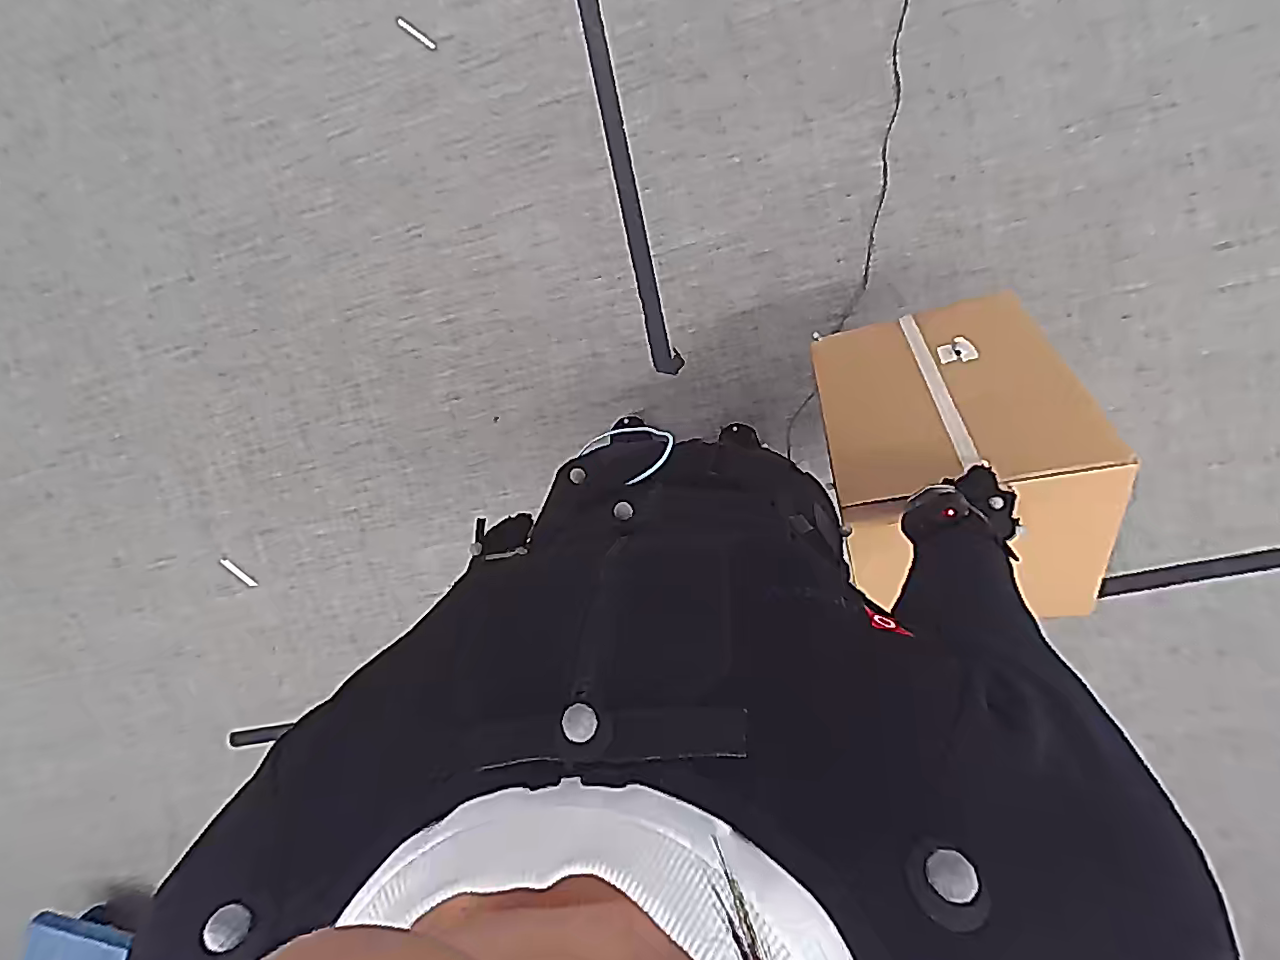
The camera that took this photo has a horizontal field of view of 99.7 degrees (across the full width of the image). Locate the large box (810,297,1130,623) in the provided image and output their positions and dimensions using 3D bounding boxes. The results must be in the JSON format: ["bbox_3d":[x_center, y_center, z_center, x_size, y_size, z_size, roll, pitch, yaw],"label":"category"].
[{"bbox_3d":[0.483,-0.030,0.884,0.320,0.408,0.320,-10,132,18],"label":"large box"}]
